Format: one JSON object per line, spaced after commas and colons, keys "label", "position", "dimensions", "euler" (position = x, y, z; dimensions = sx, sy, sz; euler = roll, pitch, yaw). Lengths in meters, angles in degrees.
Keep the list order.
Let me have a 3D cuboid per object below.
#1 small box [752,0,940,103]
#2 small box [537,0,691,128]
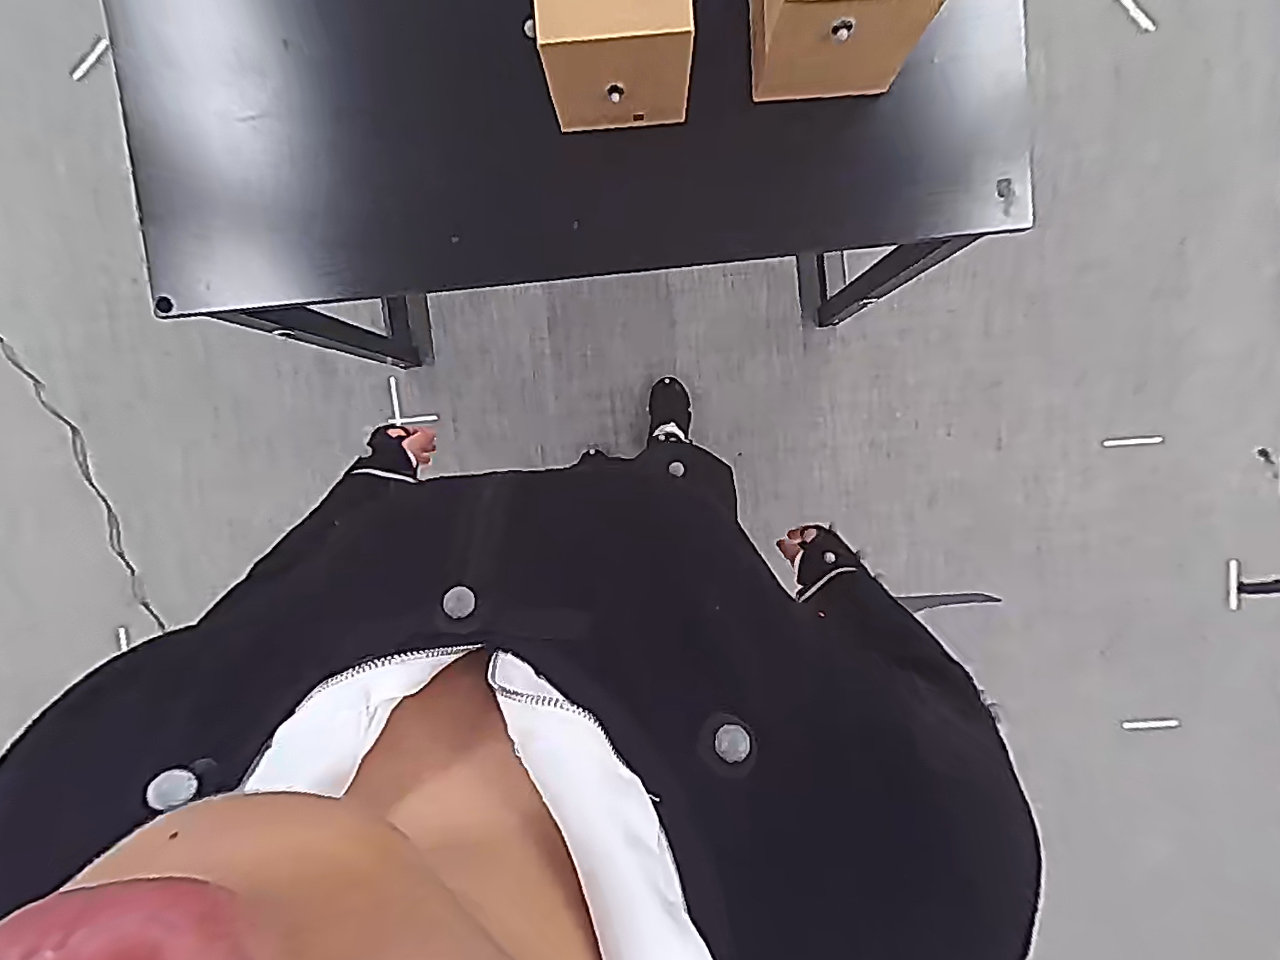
{"label": "small box", "position": [0.231, -0.581, 0.640], "dimensions": [0.179, 0.176, 0.168], "euler": [-3, 94, 1]}
{"label": "small box", "position": [-0.028, -0.552, 0.647], "dimensions": [0.168, 0.176, 0.179], "euler": [-3, 94, 1]}
